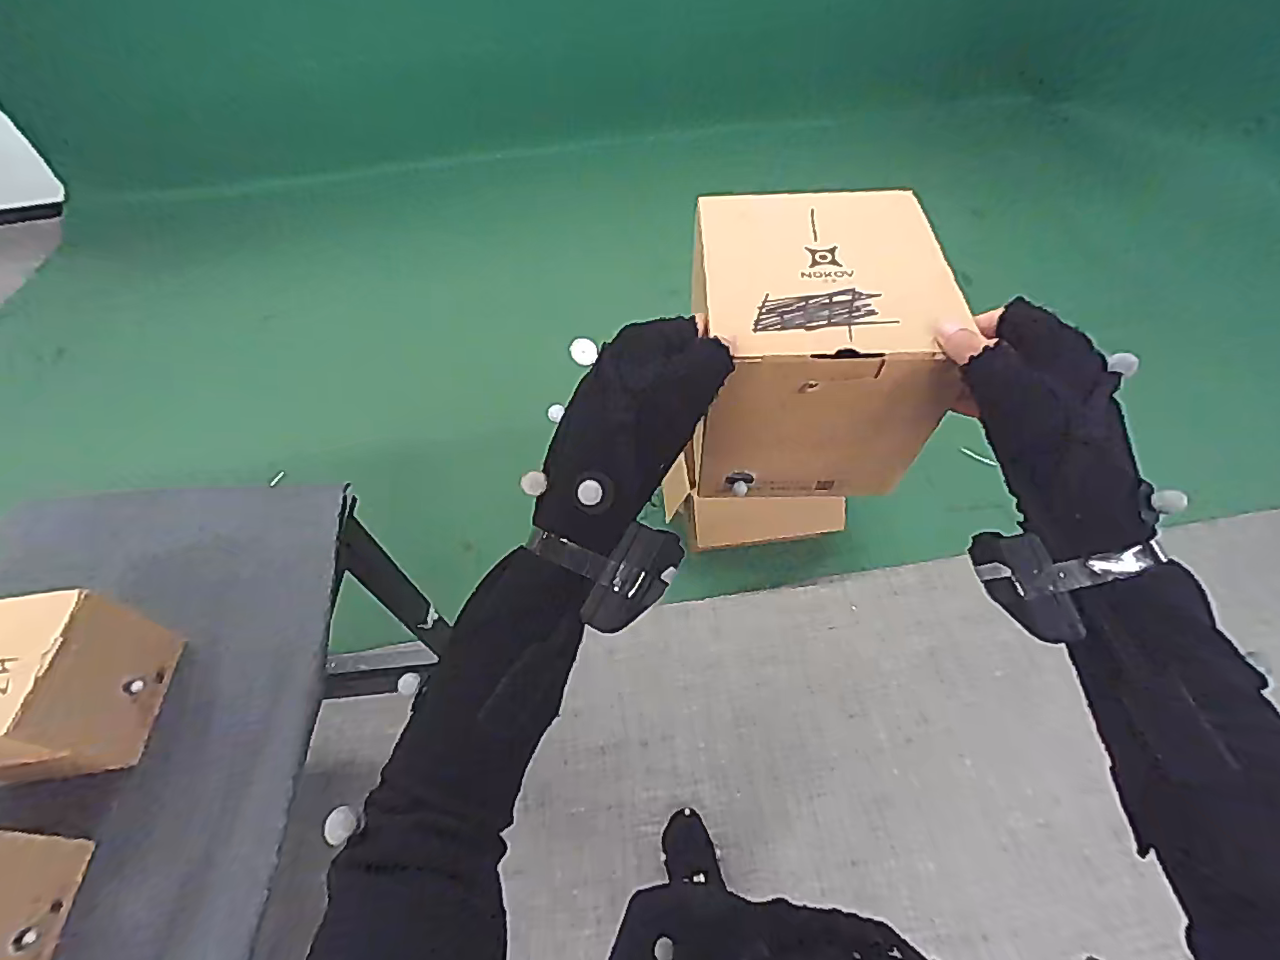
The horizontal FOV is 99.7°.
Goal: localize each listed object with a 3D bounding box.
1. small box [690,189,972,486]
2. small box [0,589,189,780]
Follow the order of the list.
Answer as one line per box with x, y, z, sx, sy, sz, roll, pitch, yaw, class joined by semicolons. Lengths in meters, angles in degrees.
0.127;-0.106;0.442;0.168;0.176;0.179;-1;56;2;small box
-0.721;0.253;0.659;0.179;0.176;0.168;-8;53;-1;small box
